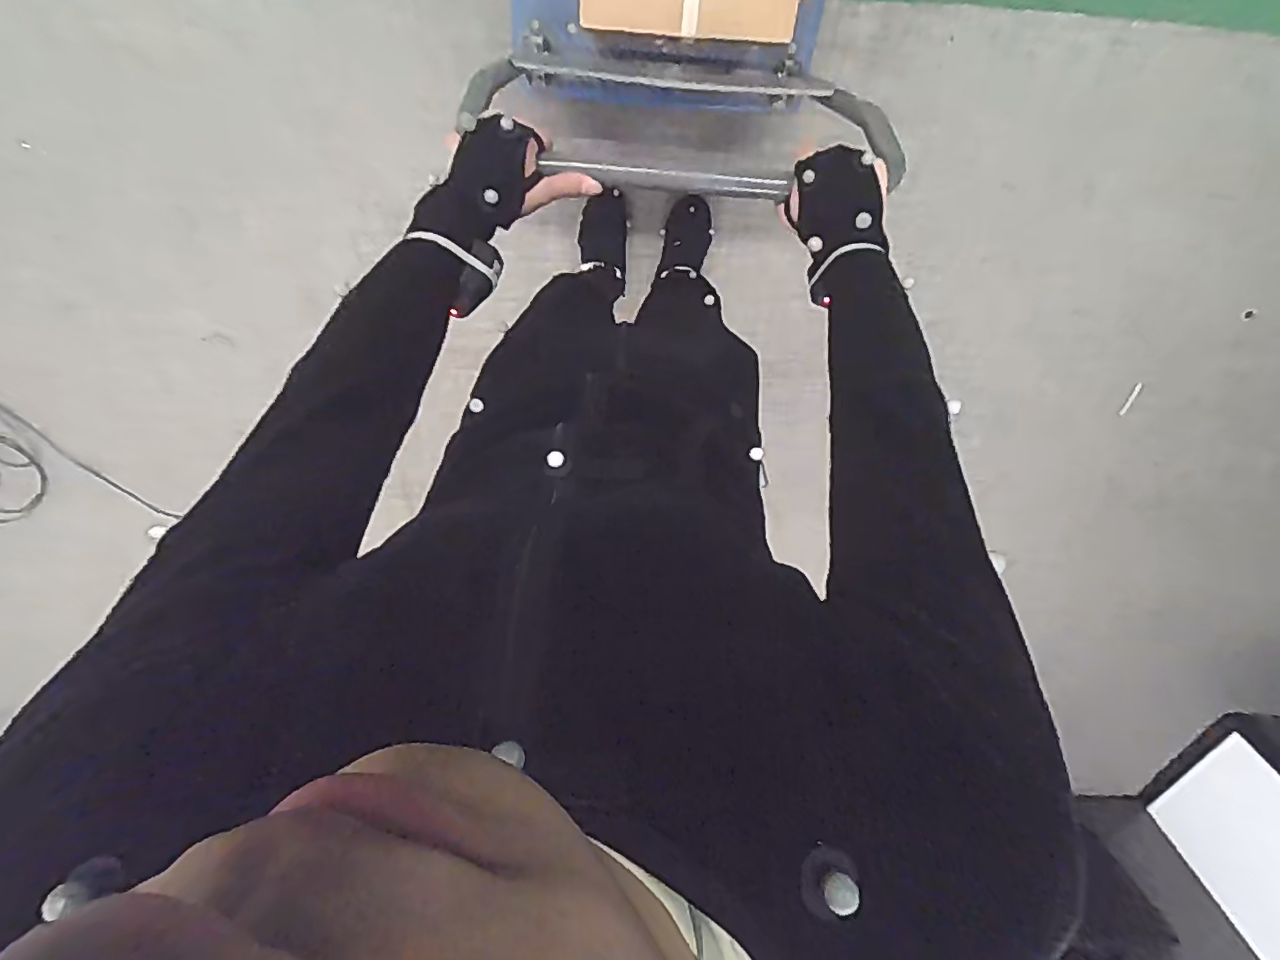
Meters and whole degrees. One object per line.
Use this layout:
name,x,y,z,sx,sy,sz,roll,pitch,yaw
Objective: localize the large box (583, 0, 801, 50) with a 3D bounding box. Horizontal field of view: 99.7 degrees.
large box,0.083,-0.894,0.792,0.320,0.320,0.408,3,128,-3
